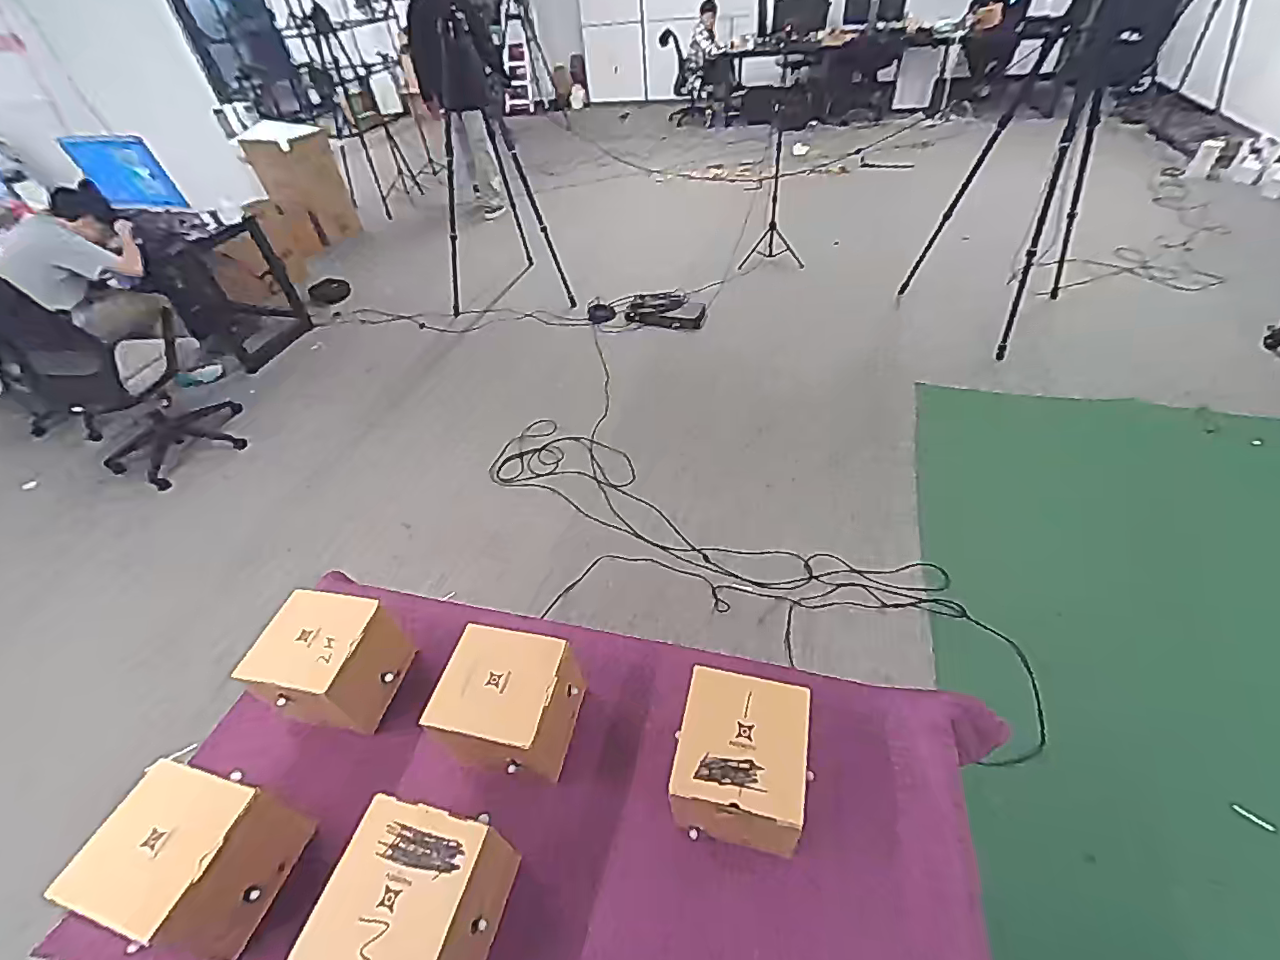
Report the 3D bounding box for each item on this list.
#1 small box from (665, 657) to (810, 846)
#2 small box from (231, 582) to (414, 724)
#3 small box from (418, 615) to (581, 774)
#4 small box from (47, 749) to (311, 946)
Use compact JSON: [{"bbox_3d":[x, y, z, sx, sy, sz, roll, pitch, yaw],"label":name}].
[{"bbox_3d":[0.140,0.383,0.761,0.168,0.176,0.179,7,46,15],"label":"small box"},{"bbox_3d":[-0.531,0.299,0.932,0.179,0.176,0.168,5,47,12],"label":"small box"},{"bbox_3d":[-0.205,0.340,0.852,0.179,0.176,0.168,6,46,14],"label":"small box"},{"bbox_3d":[-0.607,0.502,0.738,0.179,0.176,0.168,8,45,14],"label":"small box"}]
